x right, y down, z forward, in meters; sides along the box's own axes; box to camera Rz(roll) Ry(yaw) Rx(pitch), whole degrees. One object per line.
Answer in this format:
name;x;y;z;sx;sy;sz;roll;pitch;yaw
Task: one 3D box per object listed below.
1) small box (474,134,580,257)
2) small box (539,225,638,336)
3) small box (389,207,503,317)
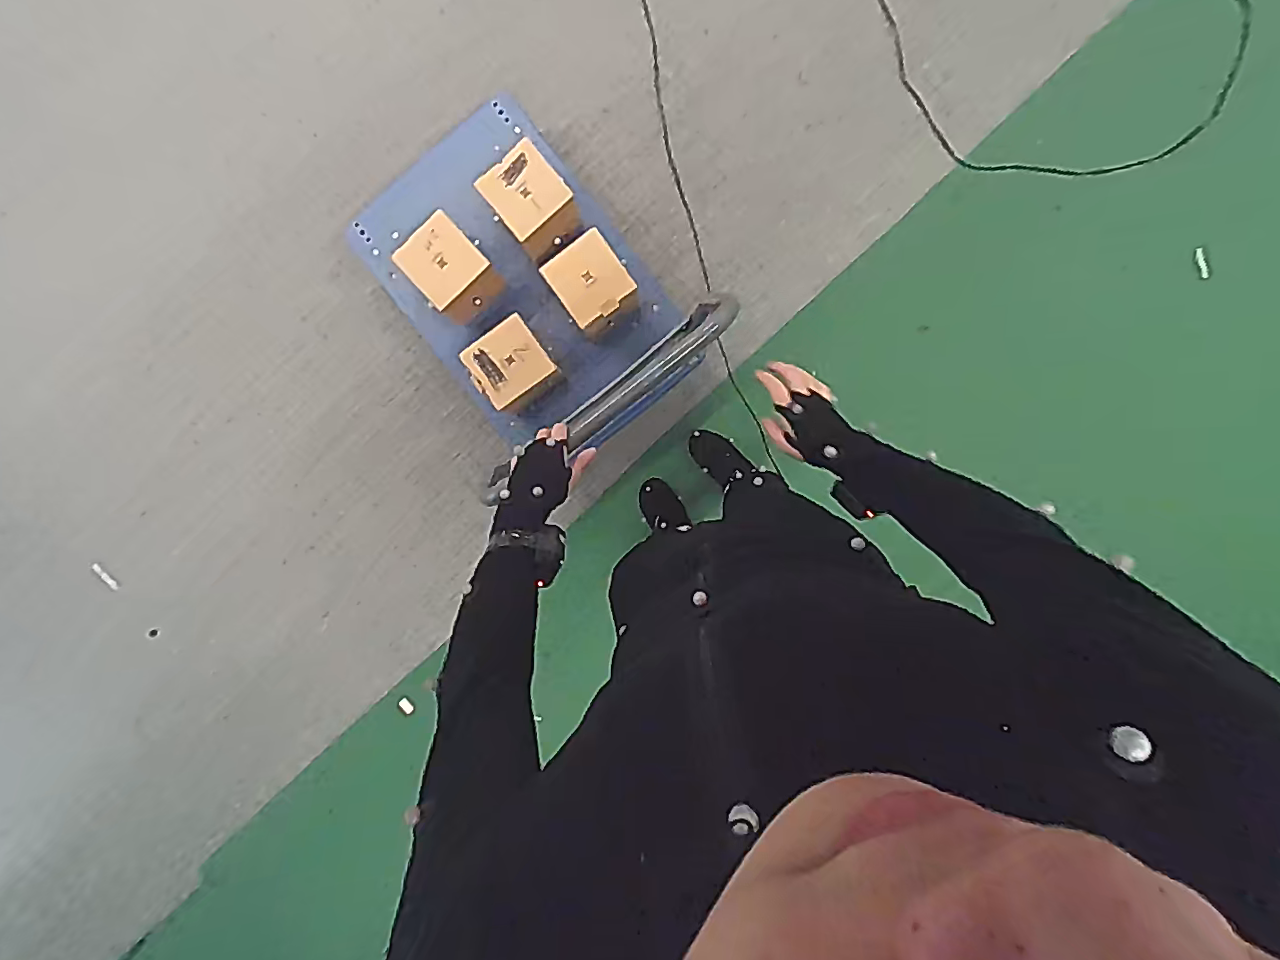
small box;-0.267;-0.681;1.318;0.168;0.176;0.179;-39;94;5
small box;-0.120;-0.480;1.333;0.168;0.176;0.179;-36;94;4
small box;-0.467;-0.524;1.336;0.168;0.176;0.179;-42;93;3
